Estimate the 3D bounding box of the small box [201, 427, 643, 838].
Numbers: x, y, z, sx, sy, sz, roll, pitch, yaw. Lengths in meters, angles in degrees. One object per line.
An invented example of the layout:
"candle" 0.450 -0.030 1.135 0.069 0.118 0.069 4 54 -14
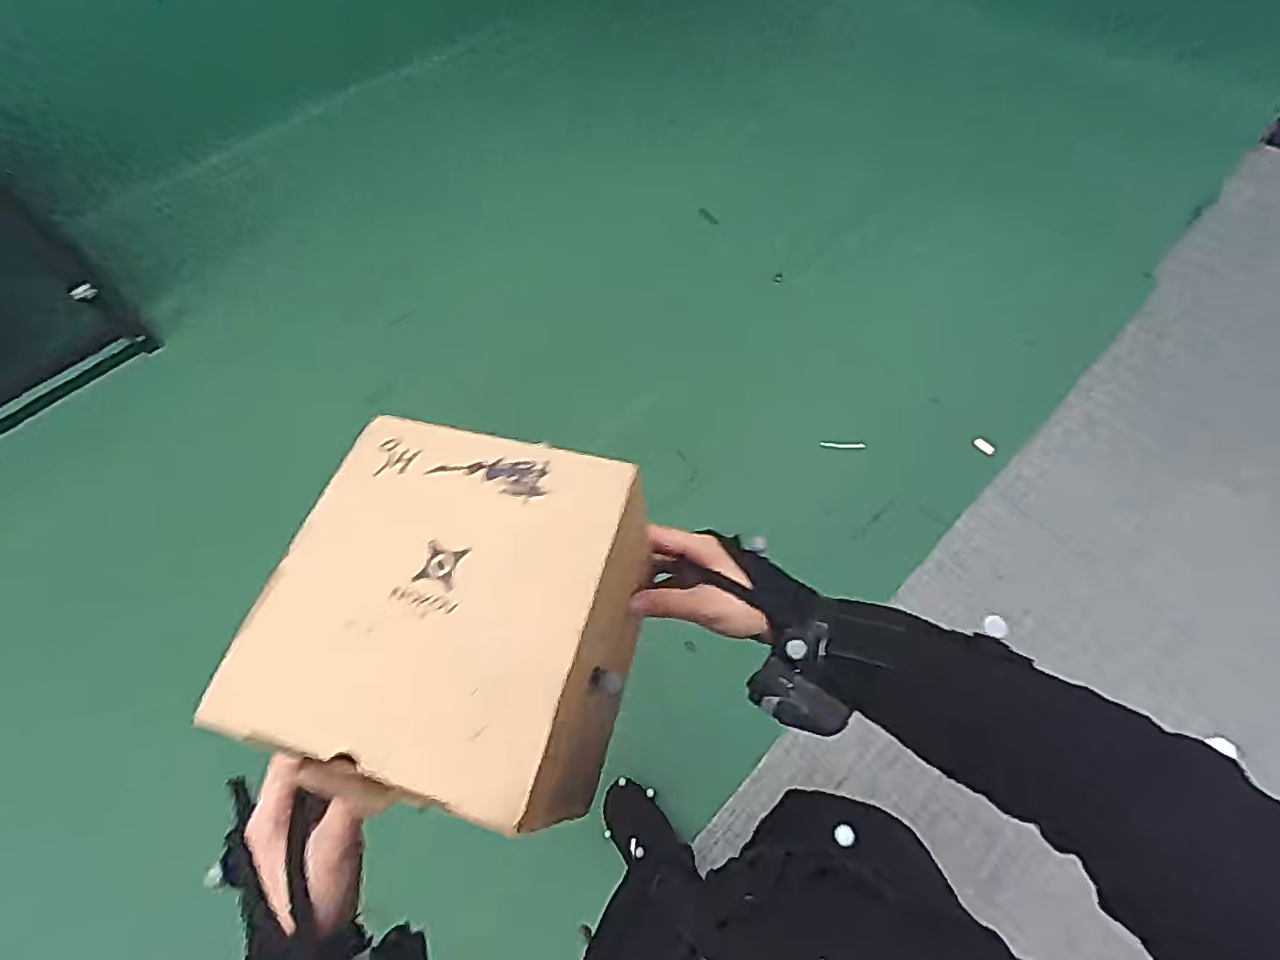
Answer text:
"small box" -0.100 0.094 0.344 0.168 0.176 0.179 11 63 12
